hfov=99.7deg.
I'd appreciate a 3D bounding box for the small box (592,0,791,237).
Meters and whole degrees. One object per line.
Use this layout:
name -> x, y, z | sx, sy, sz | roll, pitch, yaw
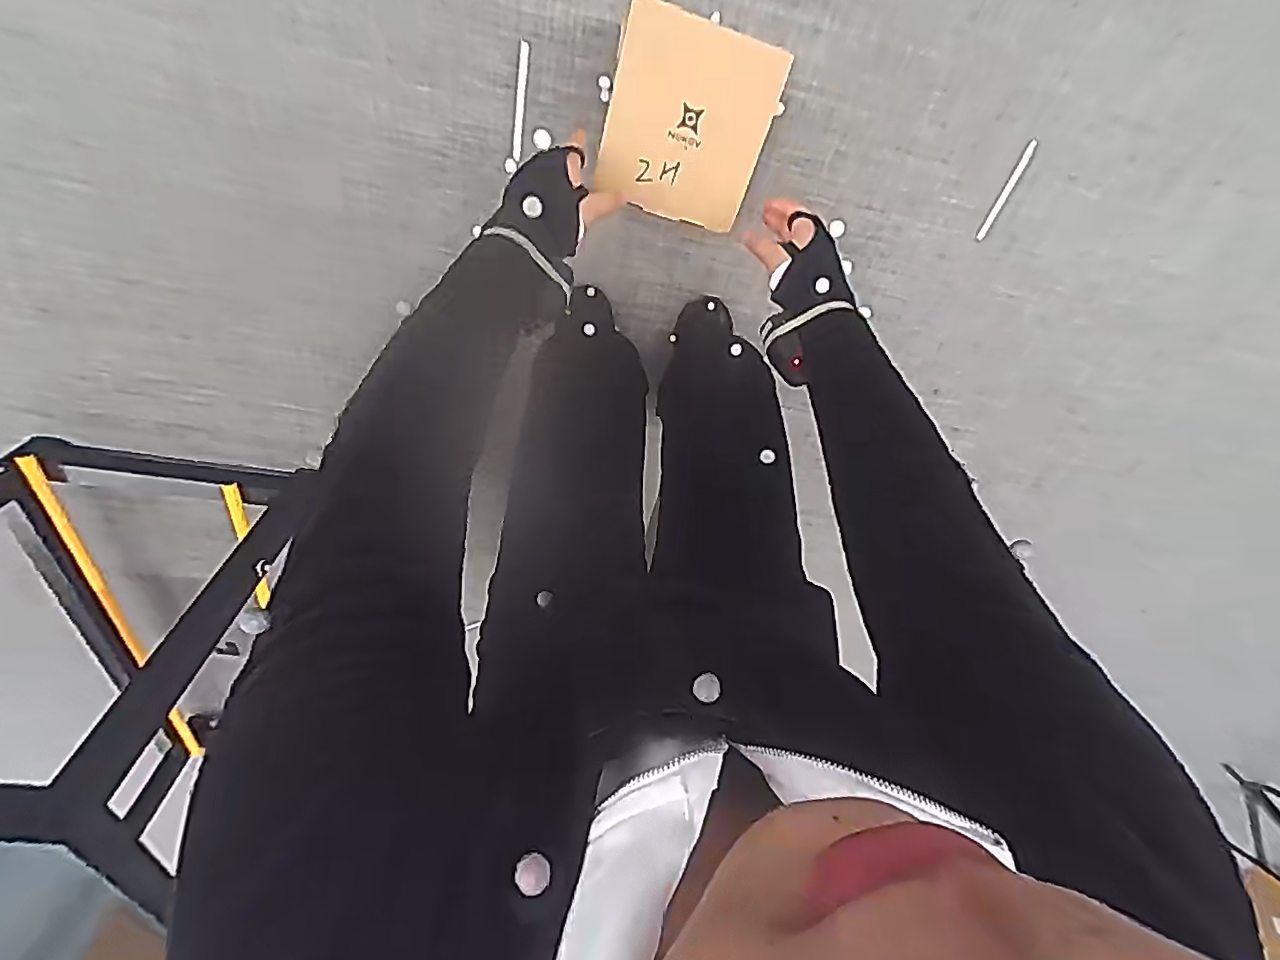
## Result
small box -> 0.045, -0.413, 0.624 | 0.168, 0.176, 0.179 | 13, 126, -11
